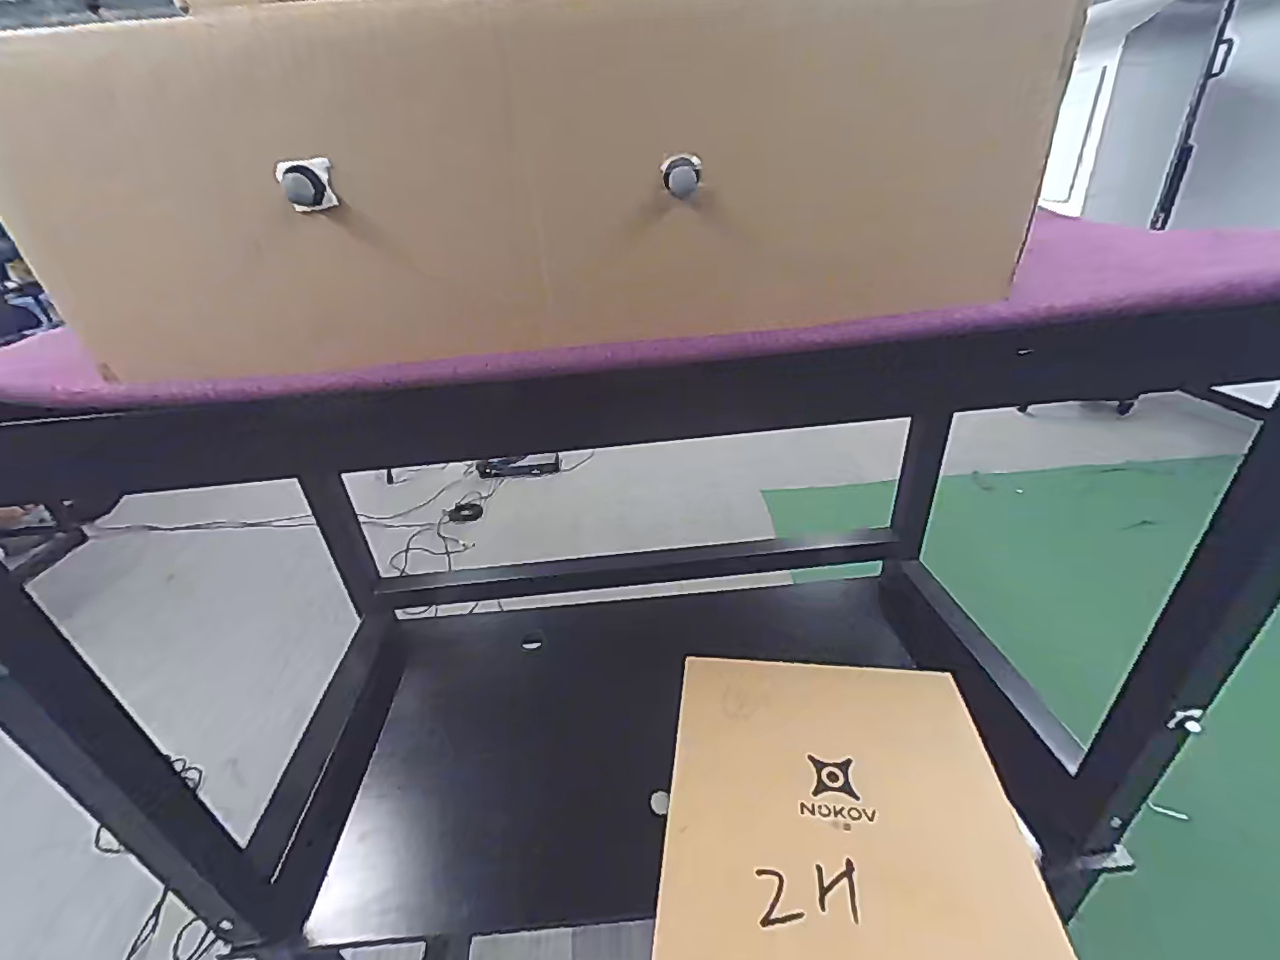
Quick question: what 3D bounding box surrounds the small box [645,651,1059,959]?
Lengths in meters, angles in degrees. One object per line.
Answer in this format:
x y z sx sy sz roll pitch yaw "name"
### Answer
0.103 0.229 0.318 0.168 0.176 0.179 0 29 12 "small box"
